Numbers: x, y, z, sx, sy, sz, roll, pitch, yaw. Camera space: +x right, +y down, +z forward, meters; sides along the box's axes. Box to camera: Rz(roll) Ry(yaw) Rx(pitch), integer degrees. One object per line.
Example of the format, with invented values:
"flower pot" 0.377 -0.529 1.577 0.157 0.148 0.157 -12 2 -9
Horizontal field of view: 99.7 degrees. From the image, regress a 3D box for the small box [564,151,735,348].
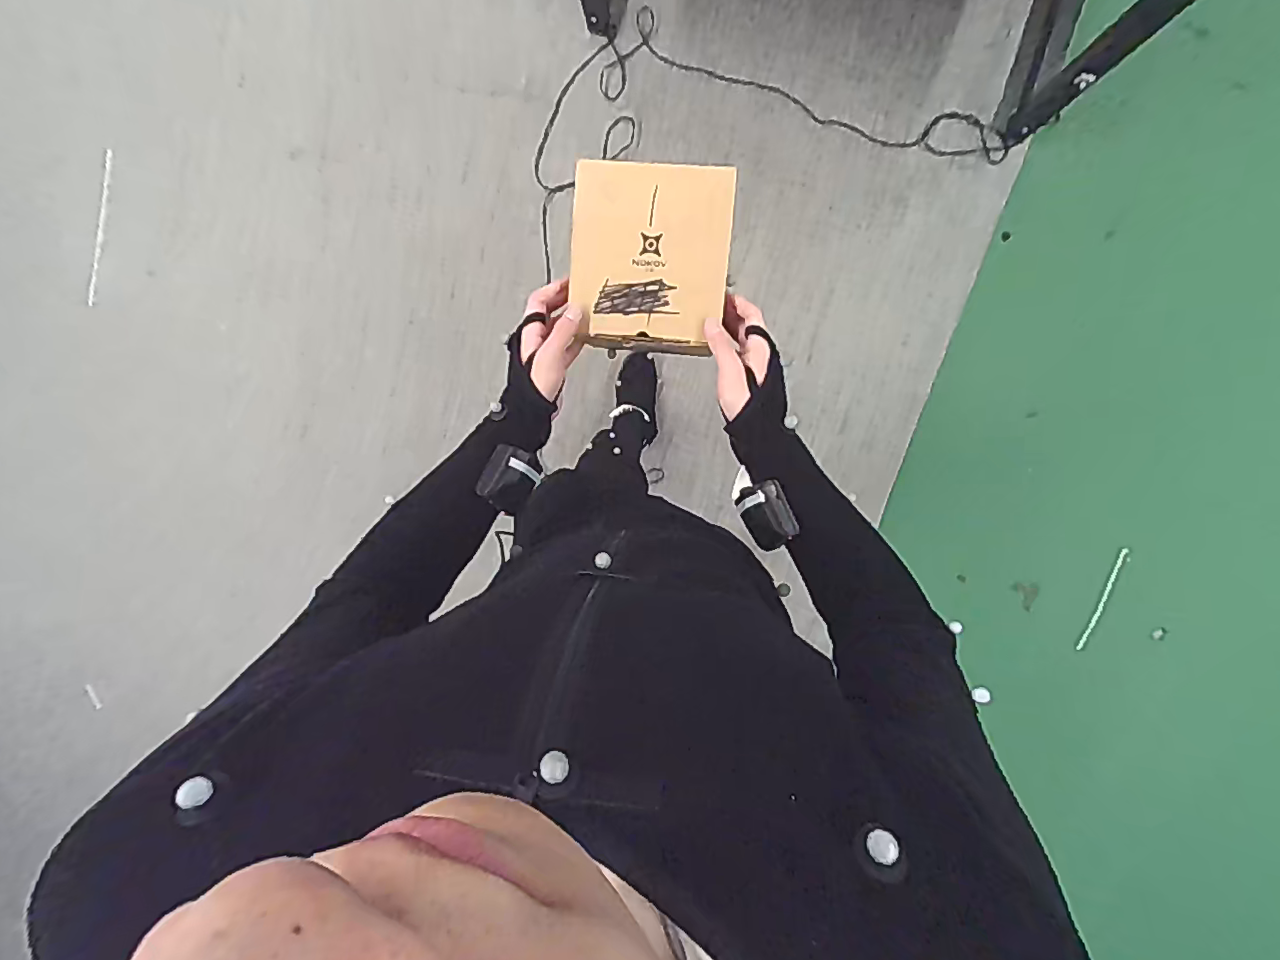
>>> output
"small box" 0.014 -0.253 0.634 0.168 0.176 0.179 6 99 4
